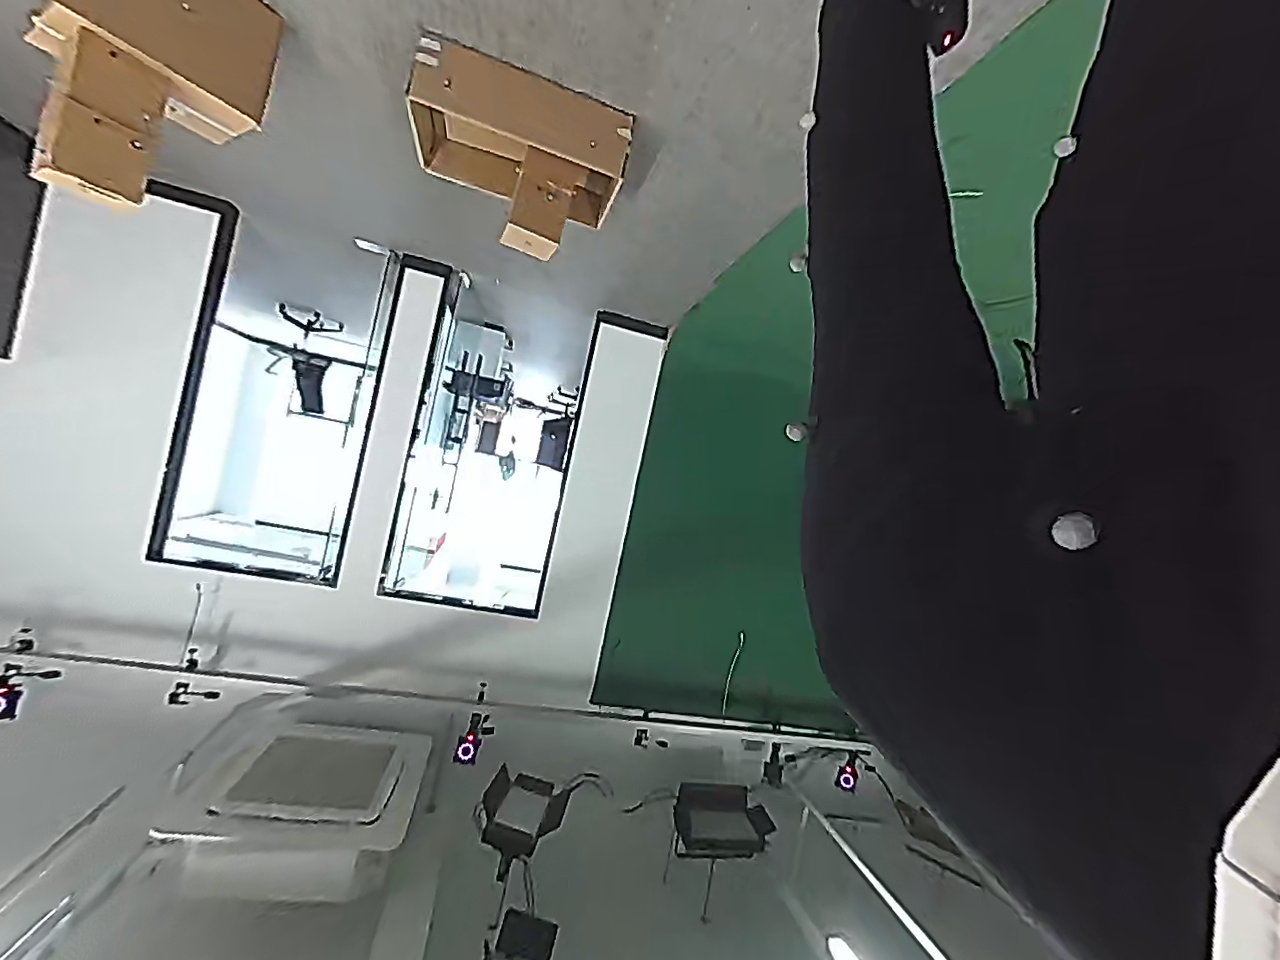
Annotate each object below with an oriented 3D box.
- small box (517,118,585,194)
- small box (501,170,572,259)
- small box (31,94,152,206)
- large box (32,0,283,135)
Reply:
[{"bbox_3d":[-0.288,-1.004,1.733,0.168,0.176,0.179,16,177,-19],"label":"small box"},{"bbox_3d":[-0.331,-0.847,1.733,0.168,0.176,0.179,15,178,-23],"label":"small box"},{"bbox_3d":[-1.332,-0.800,1.319,0.179,0.176,0.168,13,180,32],"label":"small box"},{"bbox_3d":[-1.237,-1.198,1.404,0.320,0.320,0.408,13,-179,33],"label":"large box"}]
